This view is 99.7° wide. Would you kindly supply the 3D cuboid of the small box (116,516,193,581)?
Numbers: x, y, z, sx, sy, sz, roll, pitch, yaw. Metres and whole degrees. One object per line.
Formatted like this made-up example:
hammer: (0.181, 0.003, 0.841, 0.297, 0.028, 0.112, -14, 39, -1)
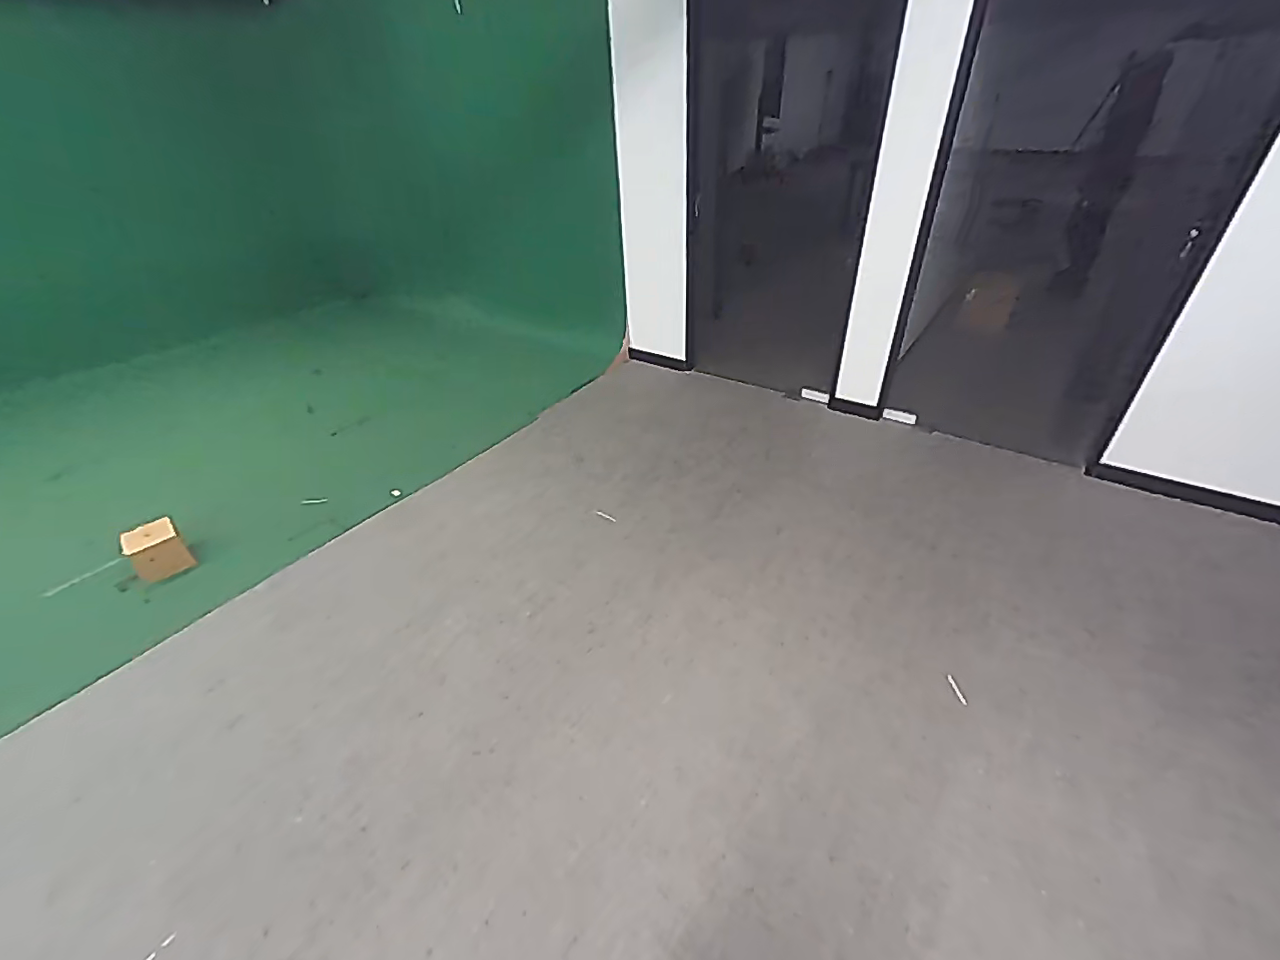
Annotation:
small box: (-1.948, 0.281, 2.174, 0.179, 0.176, 0.168, 28, 45, 35)
